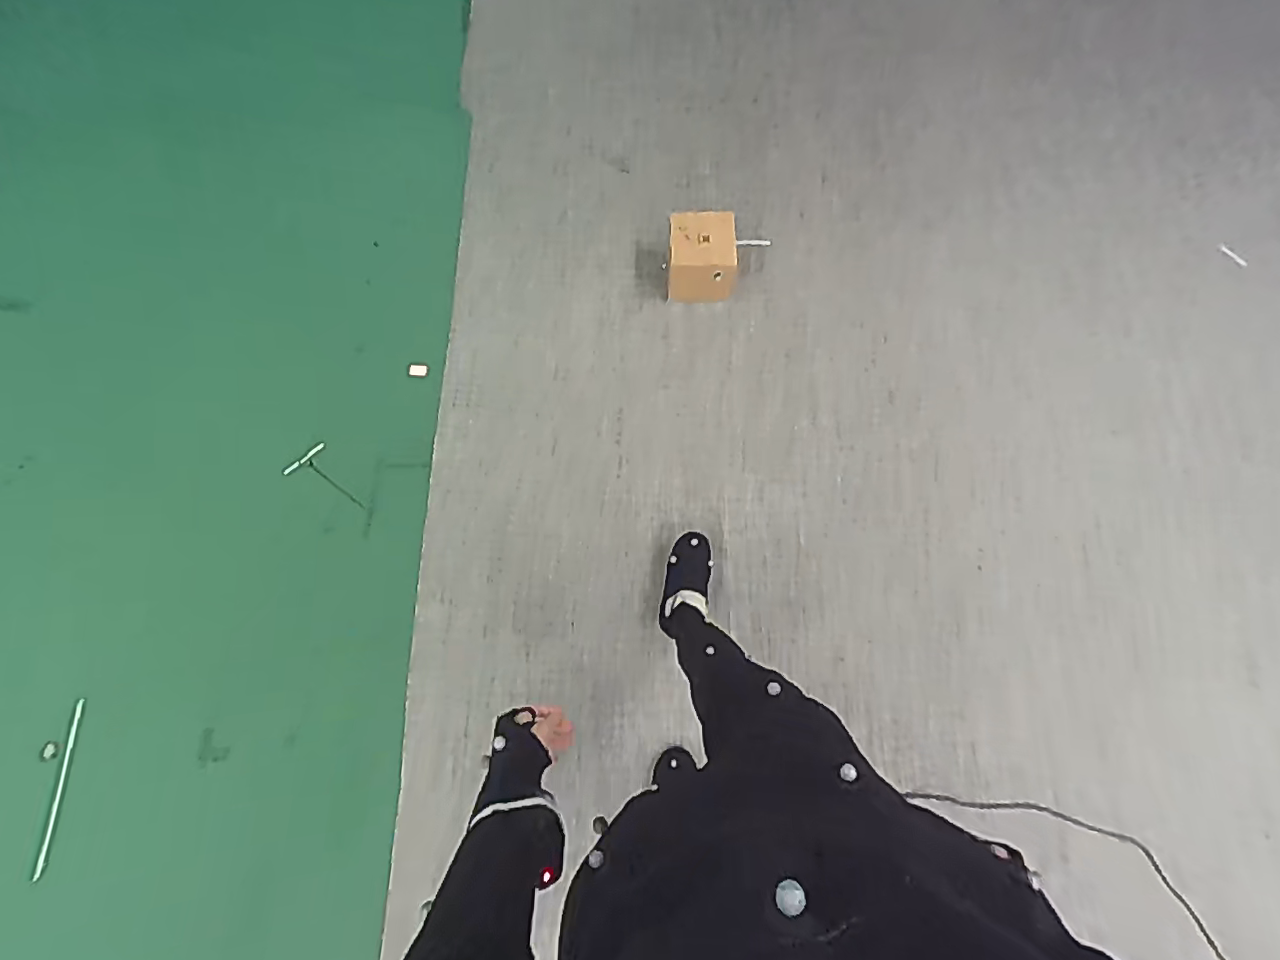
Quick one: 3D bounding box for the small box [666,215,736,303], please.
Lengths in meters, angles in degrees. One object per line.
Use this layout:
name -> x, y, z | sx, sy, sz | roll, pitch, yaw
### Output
small box -> 0.165, -0.610, 1.509 | 0.179, 0.176, 0.168 | -1, 75, 1
